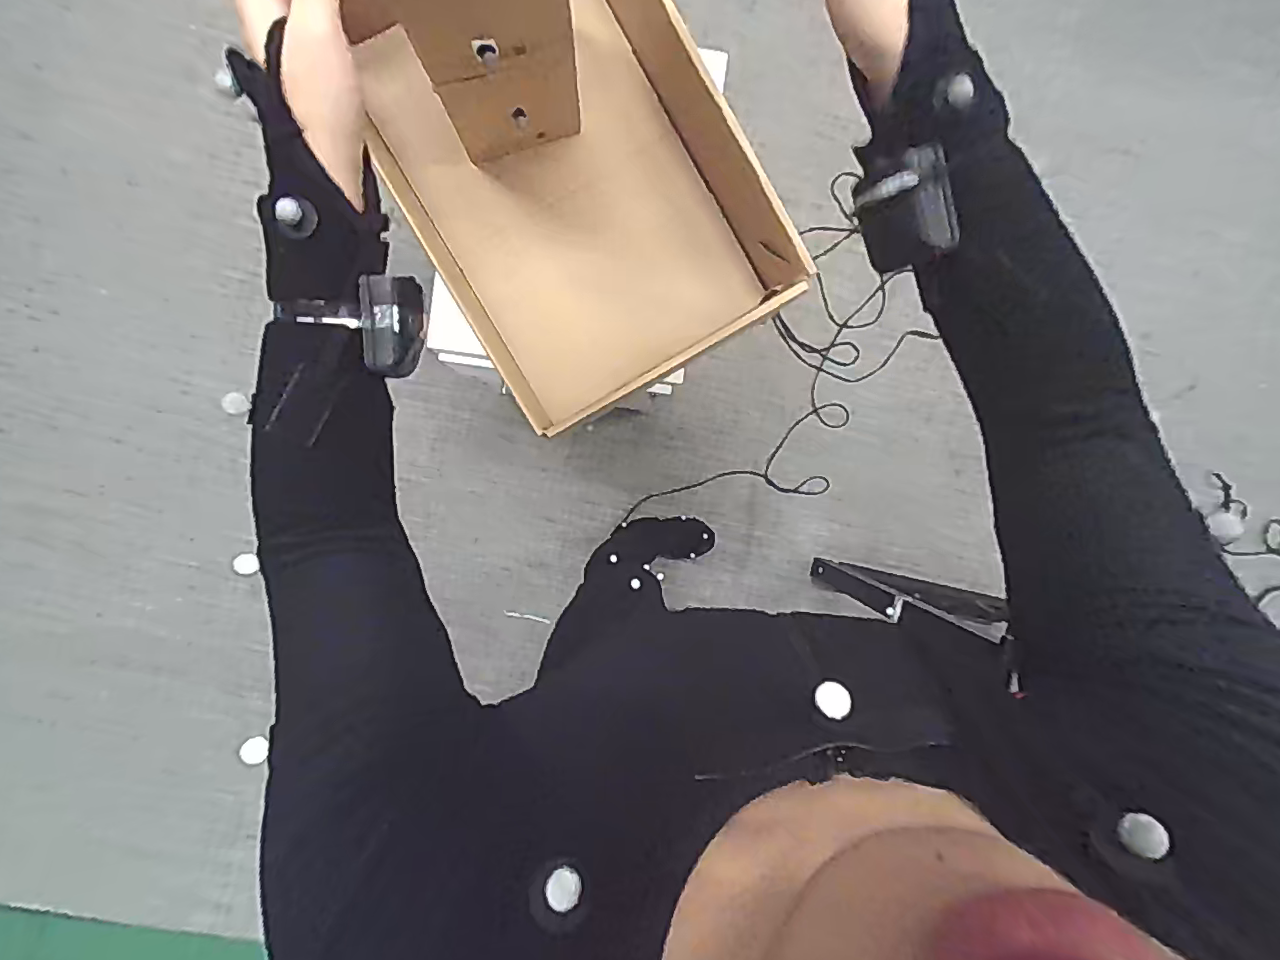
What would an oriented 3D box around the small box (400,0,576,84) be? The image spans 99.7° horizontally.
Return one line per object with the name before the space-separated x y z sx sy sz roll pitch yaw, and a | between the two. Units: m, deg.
small box | -0.165 -0.538 0.522 0.168 0.176 0.179 -14 95 0
